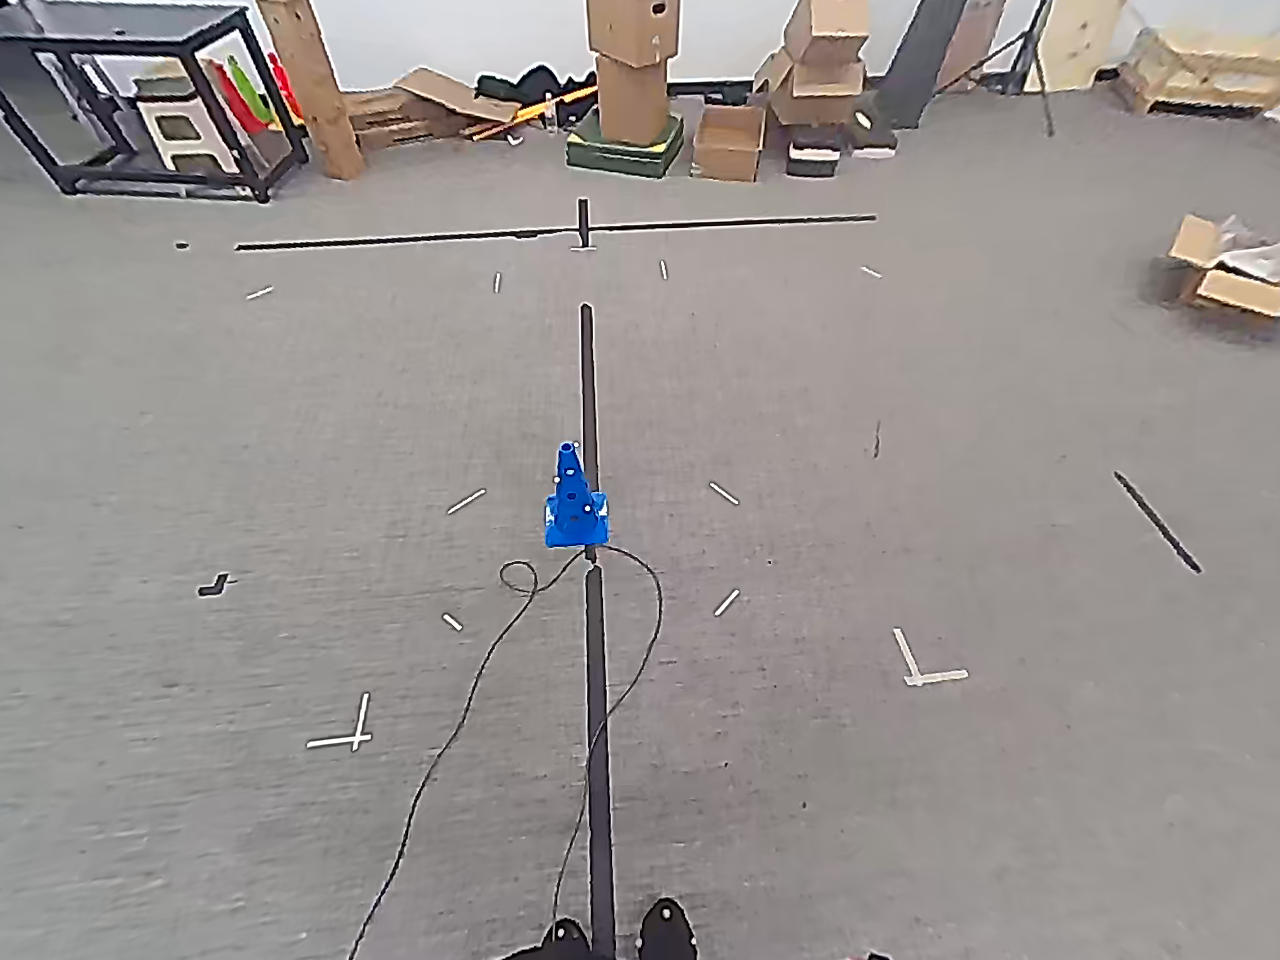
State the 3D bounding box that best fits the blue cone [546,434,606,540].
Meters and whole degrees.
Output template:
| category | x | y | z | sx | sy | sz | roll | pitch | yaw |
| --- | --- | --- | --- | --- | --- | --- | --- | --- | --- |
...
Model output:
| category | x | y | z | sx | sy | sz | roll | pitch | yaw |
| --- | --- | --- | --- | --- | --- | --- | --- | --- | --- |
| blue cone | -0.205 | 0.009 | 1.600 | 0.193 | 0.380 | 0.192 | -5 | 53 | -3 |
